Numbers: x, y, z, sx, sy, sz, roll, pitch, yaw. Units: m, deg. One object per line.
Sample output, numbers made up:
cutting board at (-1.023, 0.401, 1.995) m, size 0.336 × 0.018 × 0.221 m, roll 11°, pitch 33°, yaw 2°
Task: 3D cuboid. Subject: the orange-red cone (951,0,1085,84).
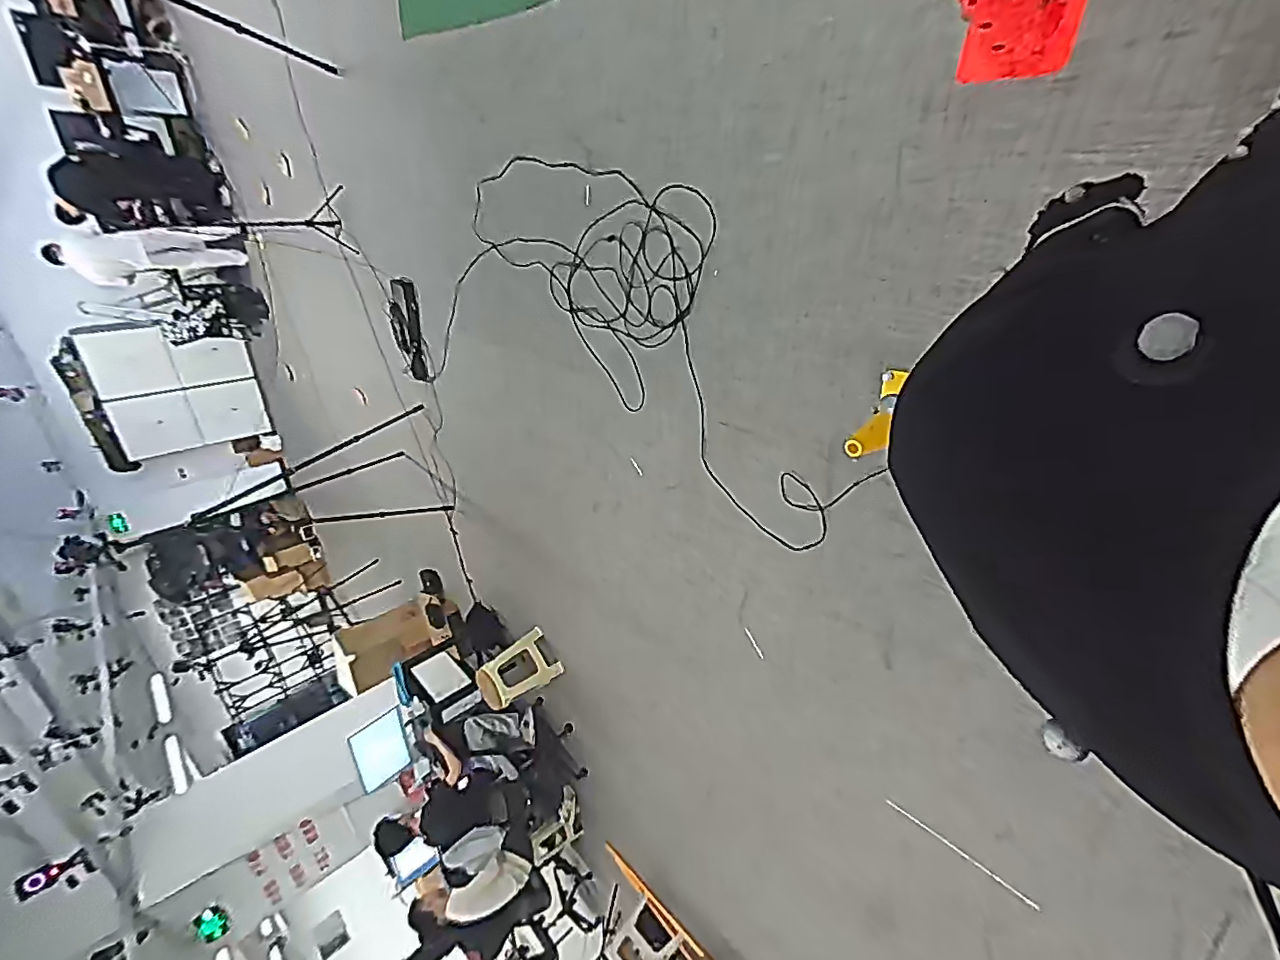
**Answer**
orange-red cone at (0.627, -0.851, 0.959) m, size 0.198 × 0.360 × 0.199 m, roll 28°, pitch 128°, yaw 40°
